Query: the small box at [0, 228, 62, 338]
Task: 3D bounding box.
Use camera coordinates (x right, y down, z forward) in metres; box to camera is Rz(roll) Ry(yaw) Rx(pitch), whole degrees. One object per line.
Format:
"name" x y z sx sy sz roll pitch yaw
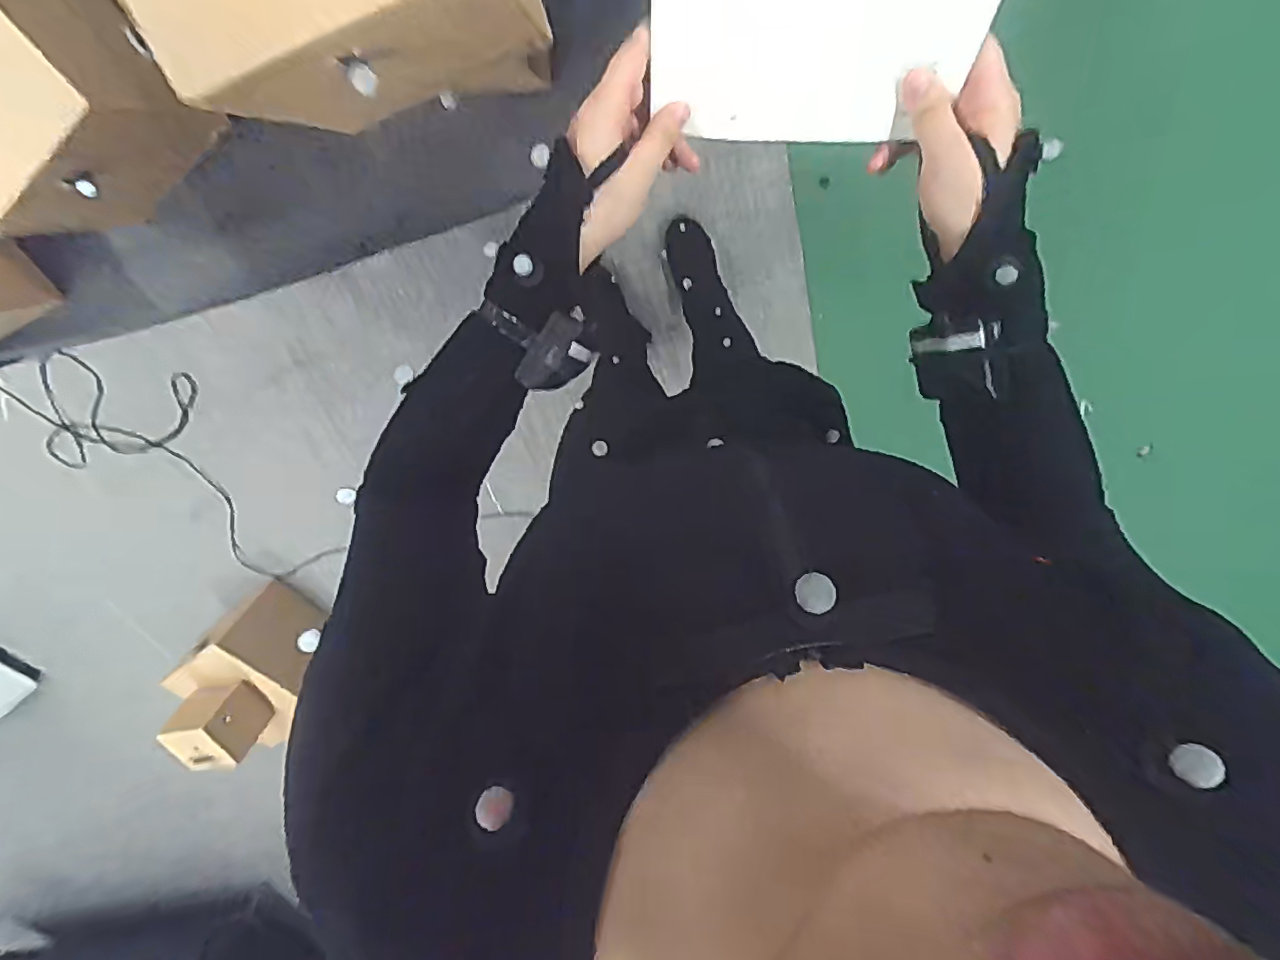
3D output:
"small box" -0.803 -0.224 0.565 0.168 0.176 0.179 -19 118 13

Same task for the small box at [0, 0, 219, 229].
"small box" -0.539 -0.350 0.483 0.179 0.176 0.168 -29 115 17

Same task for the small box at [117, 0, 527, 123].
"small box" -0.176 -0.320 0.294 0.179 0.176 0.168 -15 118 11

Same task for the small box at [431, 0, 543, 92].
"small box" -0.179 -0.421 0.423 0.168 0.176 0.179 0 121 3
